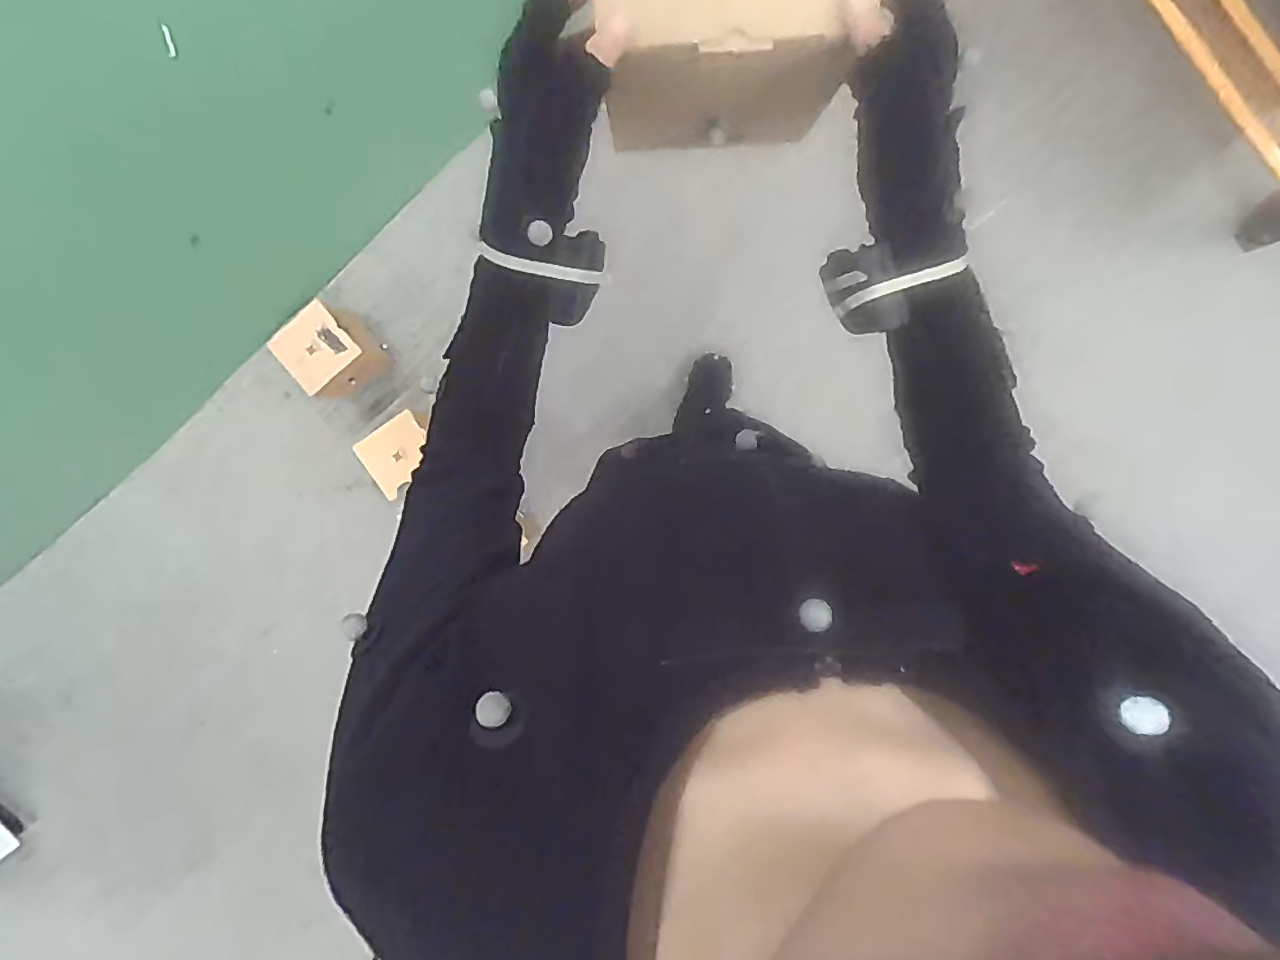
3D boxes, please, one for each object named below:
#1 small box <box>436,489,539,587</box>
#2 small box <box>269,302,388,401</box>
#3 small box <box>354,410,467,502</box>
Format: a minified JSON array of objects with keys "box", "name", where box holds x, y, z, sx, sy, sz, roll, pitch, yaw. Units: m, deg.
[{"box":[-0.387,0.145,1.411,0.179,0.176,0.168,-43,95,4],"name":"small box"},{"box":[-0.773,-0.318,1.372,0.179,0.176,0.168,-39,94,6],"name":"small box"},{"box":[-0.582,-0.064,1.394,0.179,0.176,0.168,-34,94,4],"name":"small box"}]
